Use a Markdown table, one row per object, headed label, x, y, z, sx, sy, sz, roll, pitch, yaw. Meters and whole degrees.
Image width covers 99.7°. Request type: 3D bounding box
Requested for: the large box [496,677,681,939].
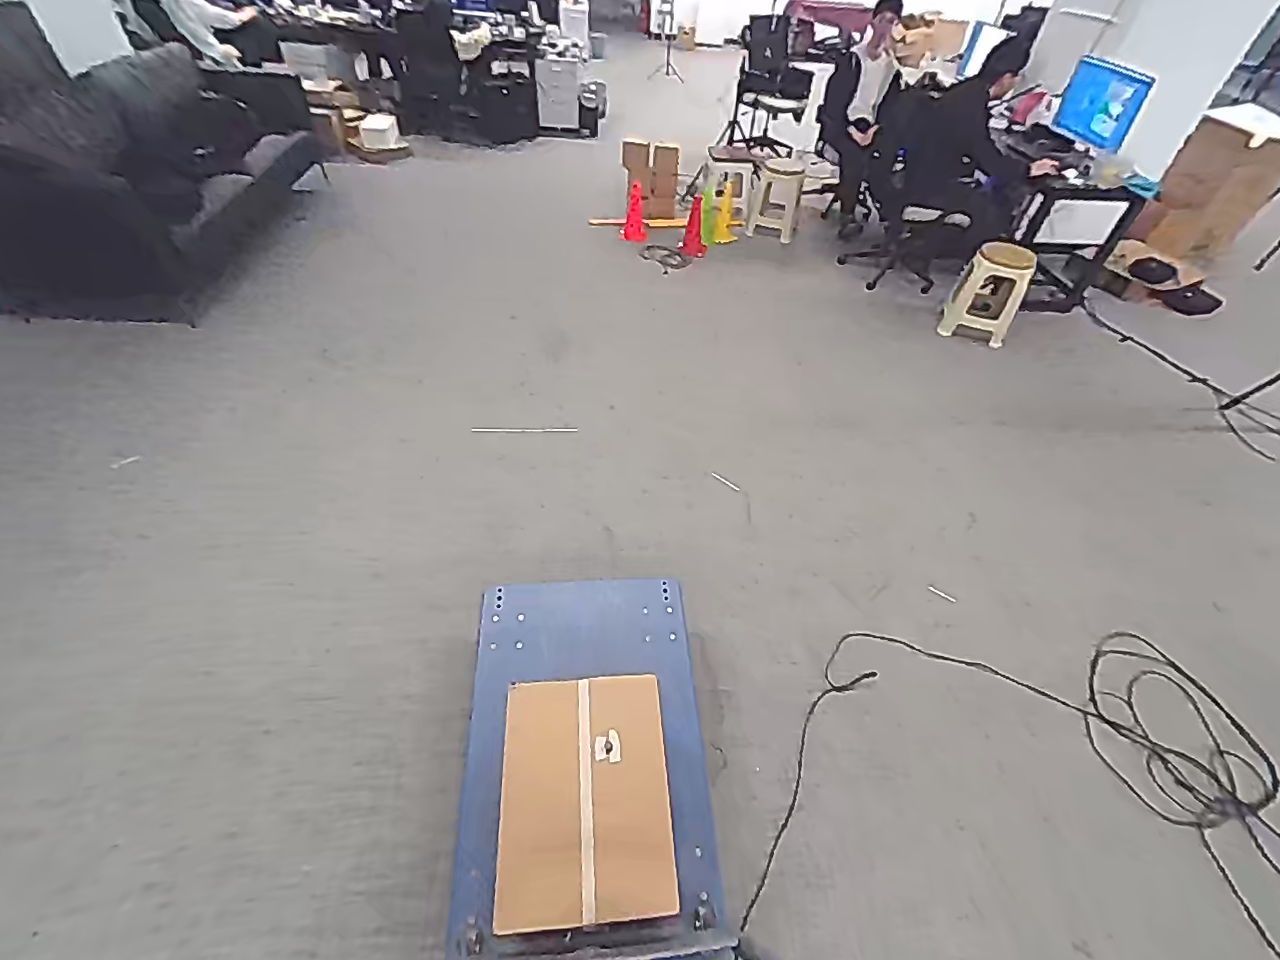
| label | x | y | z | sx | sy | sz | roll | pitch | yaw |
| --- | --- | --- | --- | --- | --- | --- | --- | --- | --- |
| large box | -0.110 | 0.674 | 1.128 | 0.320 | 0.320 | 0.408 | -2 | 52 | -6 |
